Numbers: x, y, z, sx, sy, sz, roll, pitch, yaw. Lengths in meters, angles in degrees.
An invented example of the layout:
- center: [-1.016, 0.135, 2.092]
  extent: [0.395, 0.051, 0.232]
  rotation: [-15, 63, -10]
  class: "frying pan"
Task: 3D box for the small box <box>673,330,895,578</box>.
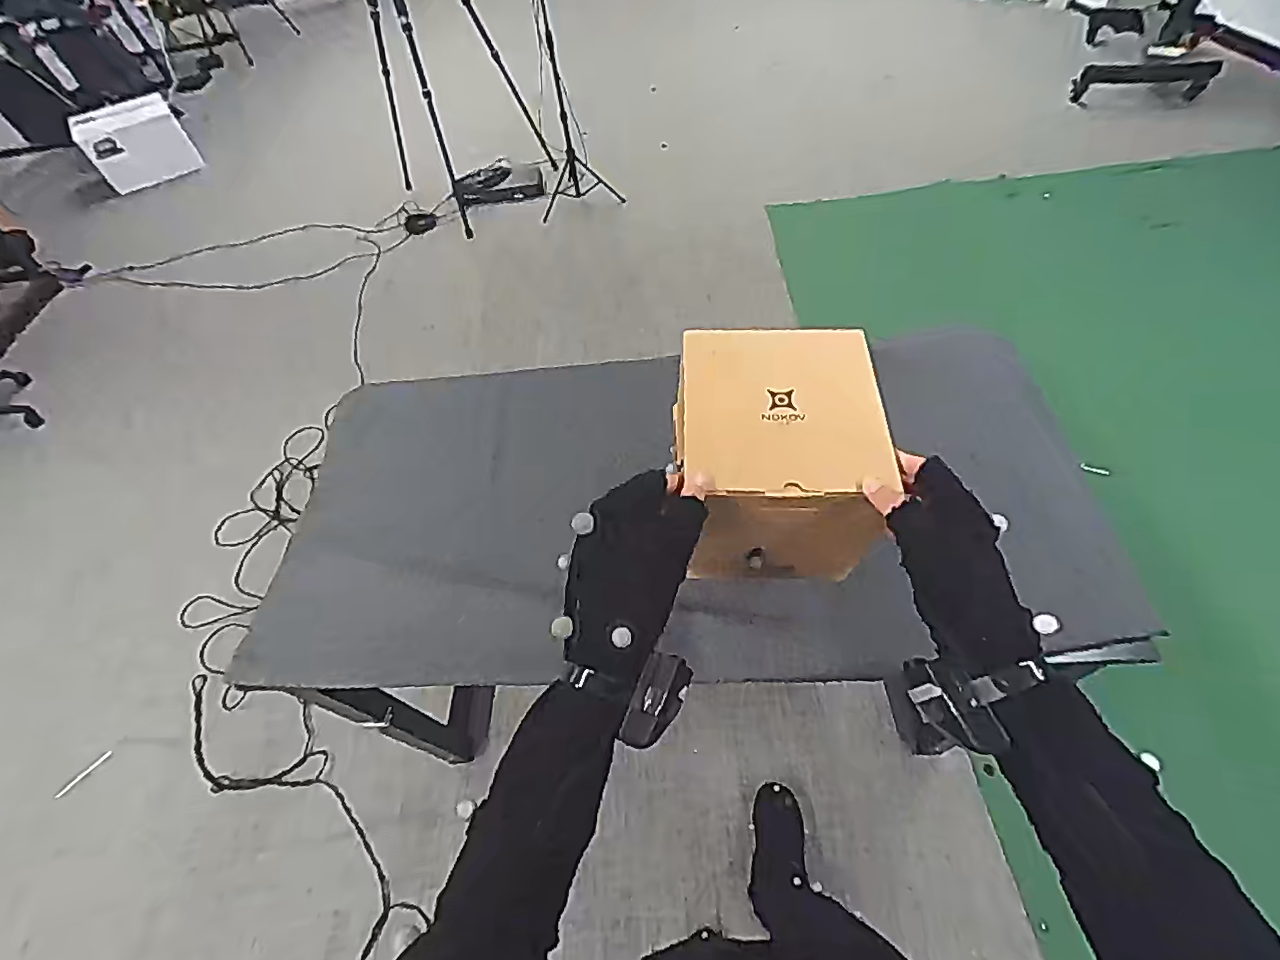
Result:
- center: [0.117, -0.021, 0.522]
  extent: [0.168, 0.176, 0.179]
  rotation: [1, 58, 3]
  class: "small box"
